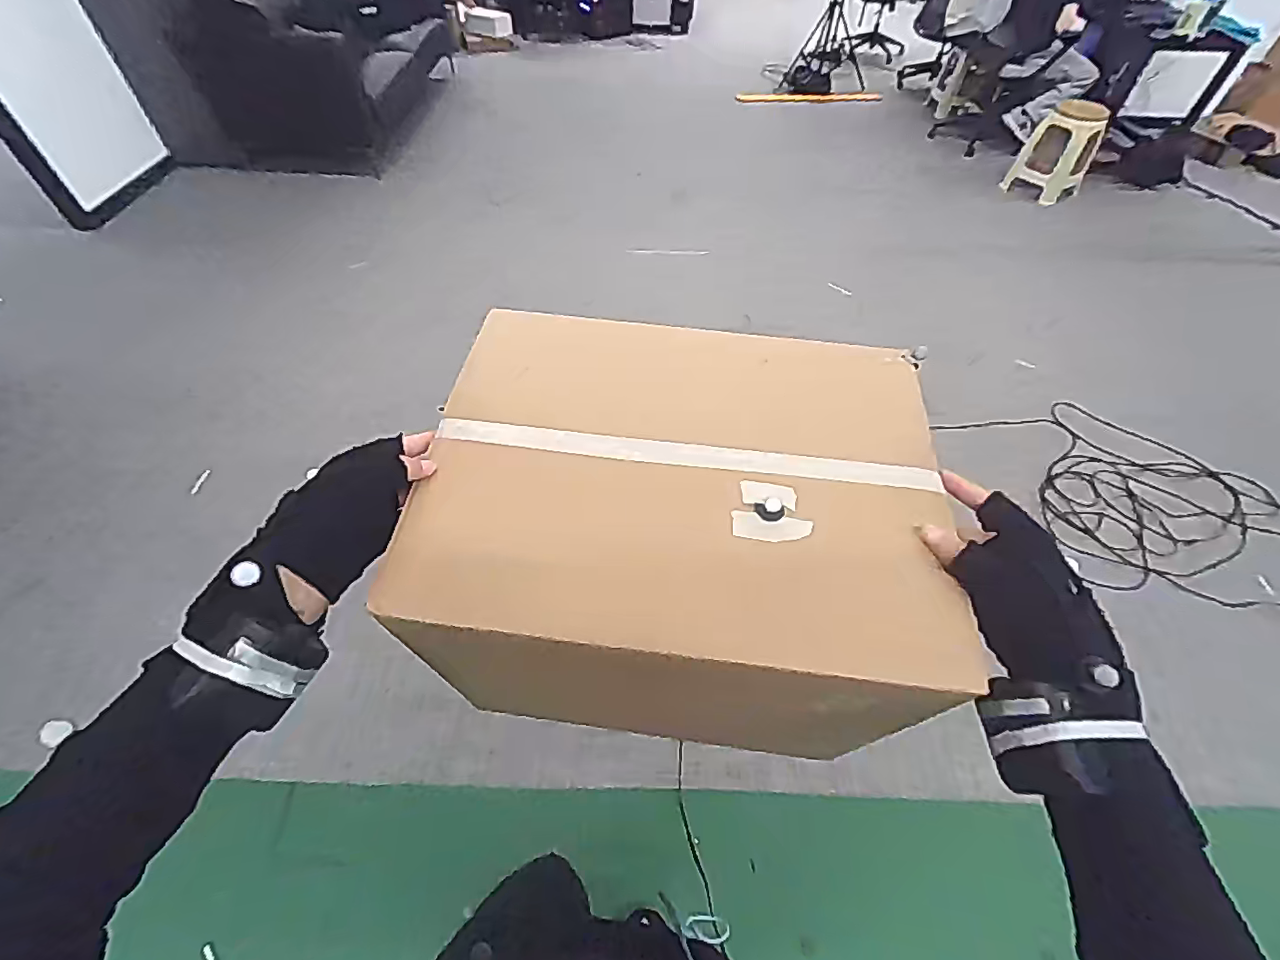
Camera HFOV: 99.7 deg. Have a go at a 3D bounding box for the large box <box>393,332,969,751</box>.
[{"bbox_3d":[0.034,0.076,0.571,0.408,0.320,0.320,6,56,3],"label":"large box"}]
